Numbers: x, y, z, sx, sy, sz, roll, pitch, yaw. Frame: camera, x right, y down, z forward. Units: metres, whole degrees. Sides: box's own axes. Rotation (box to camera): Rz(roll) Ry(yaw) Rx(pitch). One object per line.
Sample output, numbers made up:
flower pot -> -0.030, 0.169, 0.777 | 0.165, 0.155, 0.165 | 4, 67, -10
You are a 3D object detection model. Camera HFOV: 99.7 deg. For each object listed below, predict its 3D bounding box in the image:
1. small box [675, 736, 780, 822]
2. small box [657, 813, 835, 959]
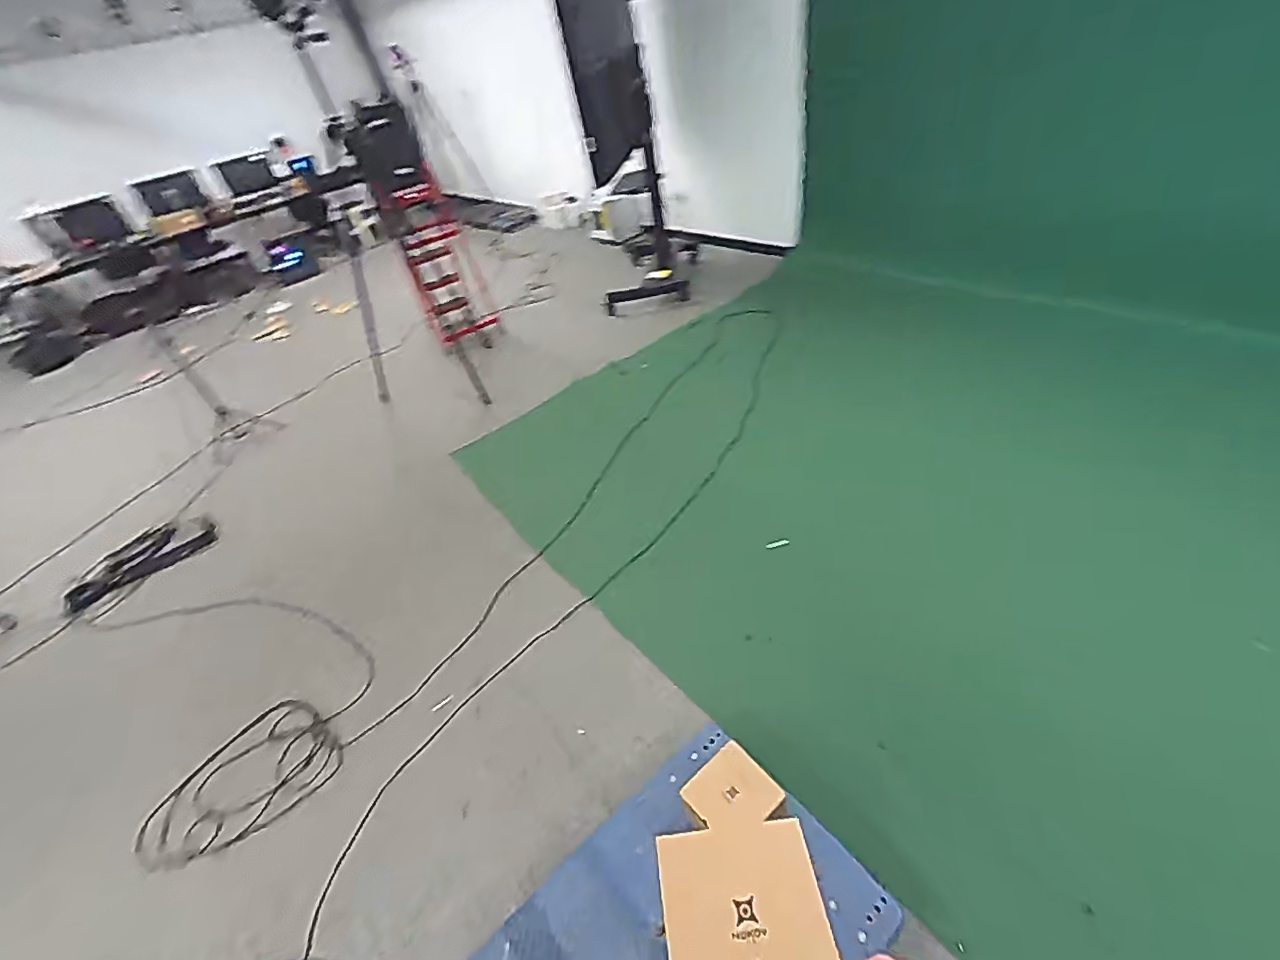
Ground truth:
small box -> 0.206, 0.741, 1.241 | 0.179, 0.176, 0.168 | -34, 46, -22
small box -> 0.107, 0.501, 0.597 | 0.168, 0.176, 0.179 | -5, 40, -1
